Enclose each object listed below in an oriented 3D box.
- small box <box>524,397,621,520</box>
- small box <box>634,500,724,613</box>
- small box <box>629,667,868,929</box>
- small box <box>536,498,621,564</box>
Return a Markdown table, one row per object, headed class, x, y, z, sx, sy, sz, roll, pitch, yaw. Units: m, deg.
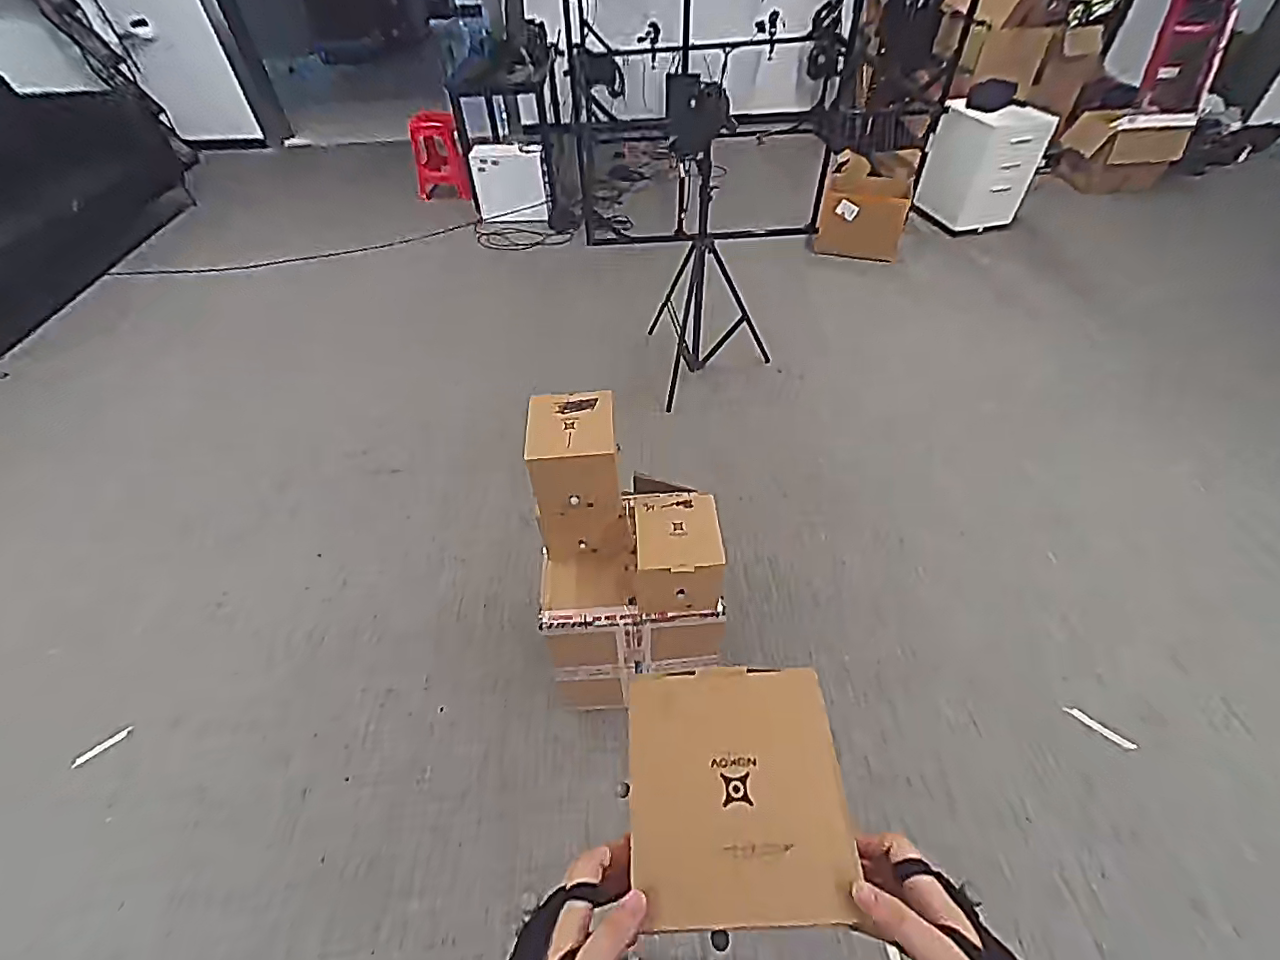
| class | x | y | z | sx | sy | sz | roll | pitch | yaw |
| --- | --- | --- | --- | --- | --- | --- | --- | --- | --- |
| small box | -0.127 | -0.042 | 1.078 | 0.168 | 0.176 | 0.179 | -5 | 50 | 0 |
| small box | 0.075 | 0.162 | 1.108 | 0.168 | 0.176 | 0.179 | -3 | 49 | -2 |
| small box | 0.075 | 0.285 | 0.483 | 0.168 | 0.176 | 0.179 | -3 | 53 | 0 |
| small box | -0.135 | 0.064 | 1.204 | 0.168 | 0.176 | 0.179 | -8 | 49 | -2 |
